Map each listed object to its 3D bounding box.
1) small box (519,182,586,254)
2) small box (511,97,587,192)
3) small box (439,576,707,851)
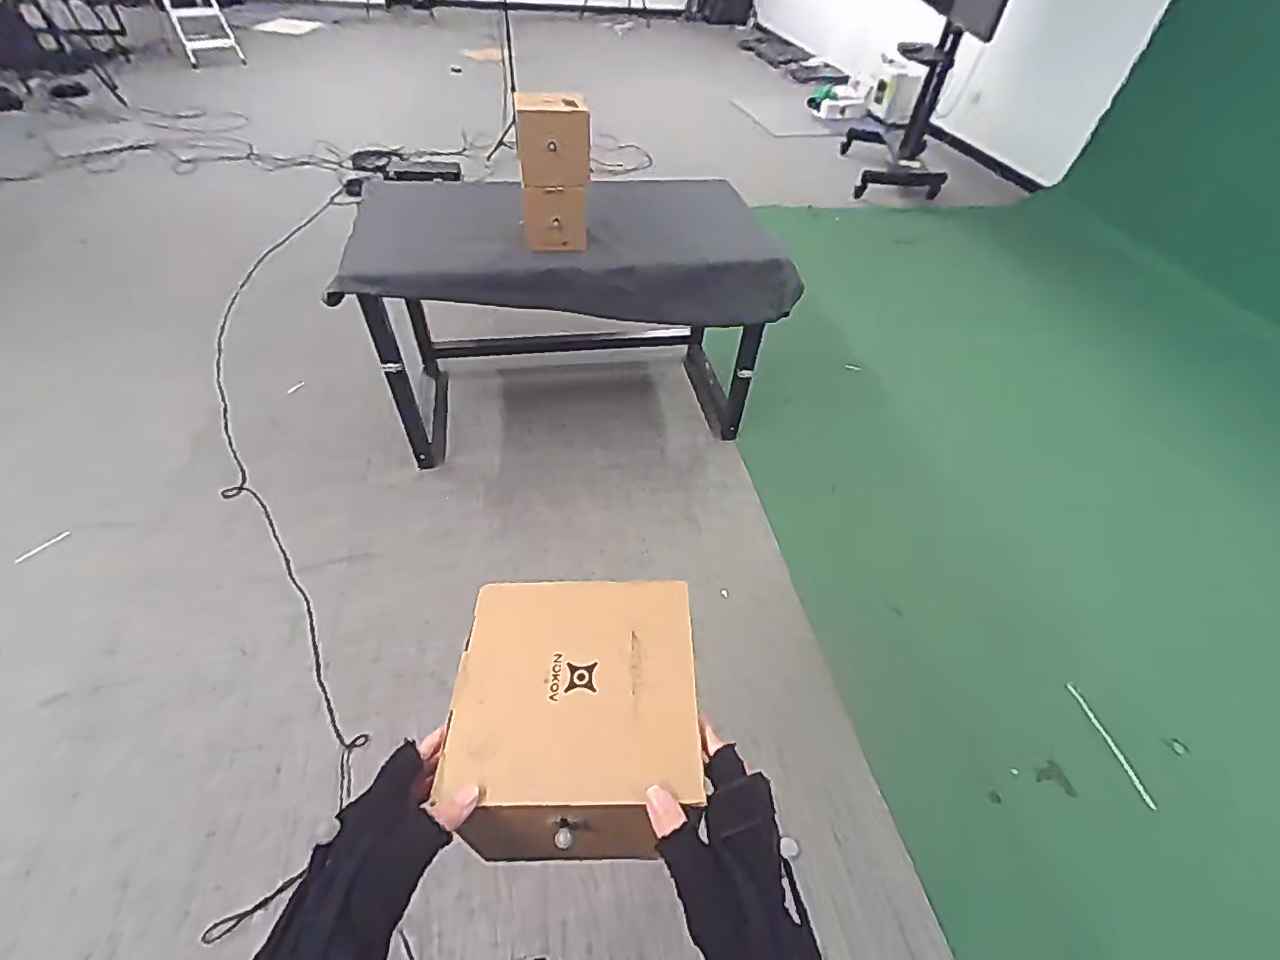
[{"bbox_3d":[-0.242,-0.744,1.502,0.168,0.176,0.179,-6,49,-8],"label":"small box"},{"bbox_3d":[-0.229,-0.854,1.380,0.179,0.176,0.168,-7,48,-8],"label":"small box"},{"bbox_3d":[-0.042,0.198,0.455,0.179,0.176,0.168,-2,47,0],"label":"small box"}]
